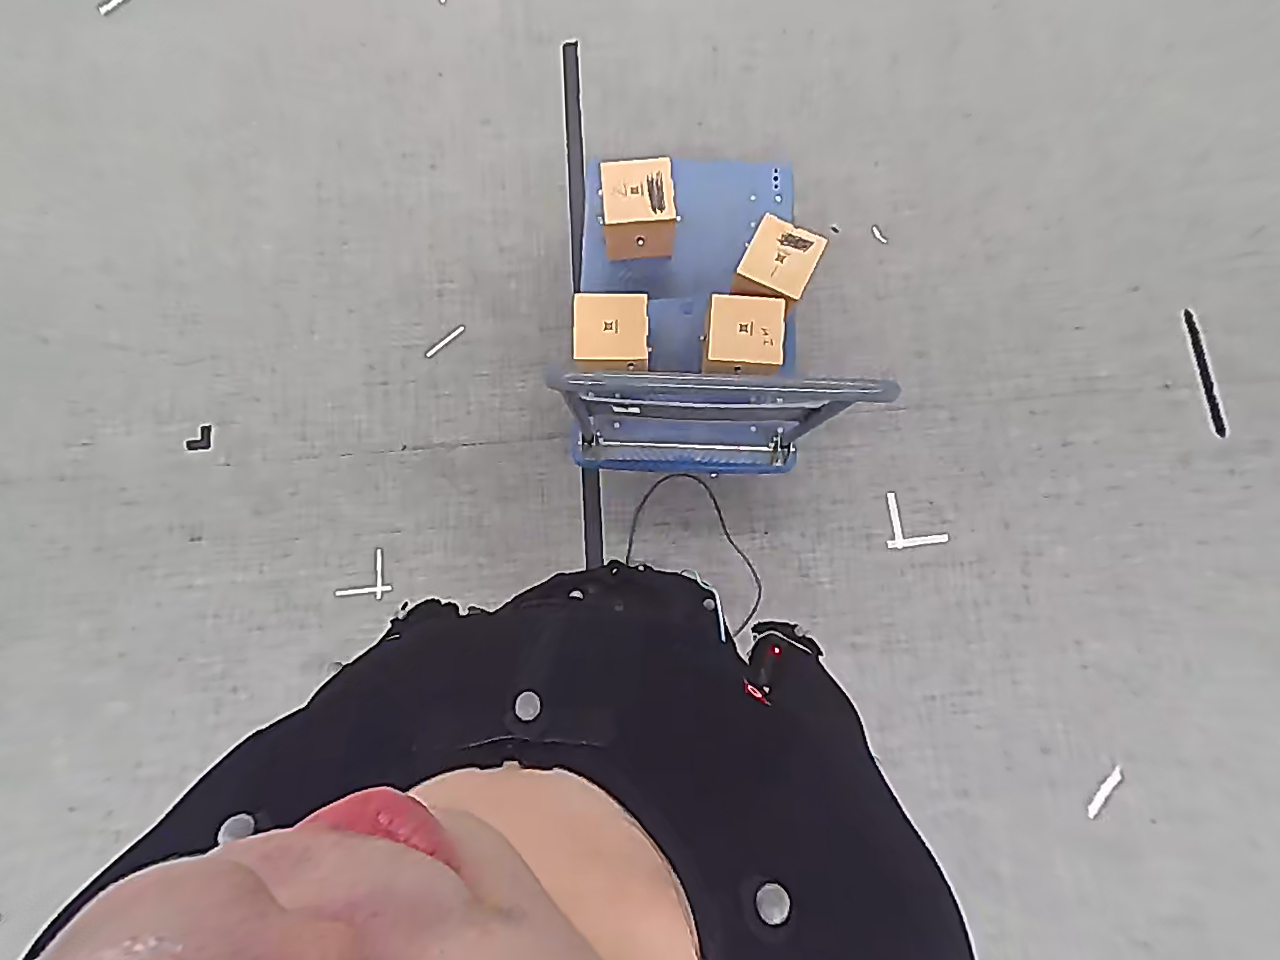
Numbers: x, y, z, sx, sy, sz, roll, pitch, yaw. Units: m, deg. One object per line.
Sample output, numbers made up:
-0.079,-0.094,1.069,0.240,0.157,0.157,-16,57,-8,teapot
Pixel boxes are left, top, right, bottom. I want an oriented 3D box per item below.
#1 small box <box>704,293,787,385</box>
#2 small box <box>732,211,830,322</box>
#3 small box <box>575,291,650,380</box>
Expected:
0.253,-0.342,1.334,0.179,0.176,0.168,5,82,2,small box
0.344,-0.524,1.361,0.168,0.176,0.179,27,83,5,small box
-0.064,-0.351,1.340,0.179,0.176,0.168,0,82,-1,small box
